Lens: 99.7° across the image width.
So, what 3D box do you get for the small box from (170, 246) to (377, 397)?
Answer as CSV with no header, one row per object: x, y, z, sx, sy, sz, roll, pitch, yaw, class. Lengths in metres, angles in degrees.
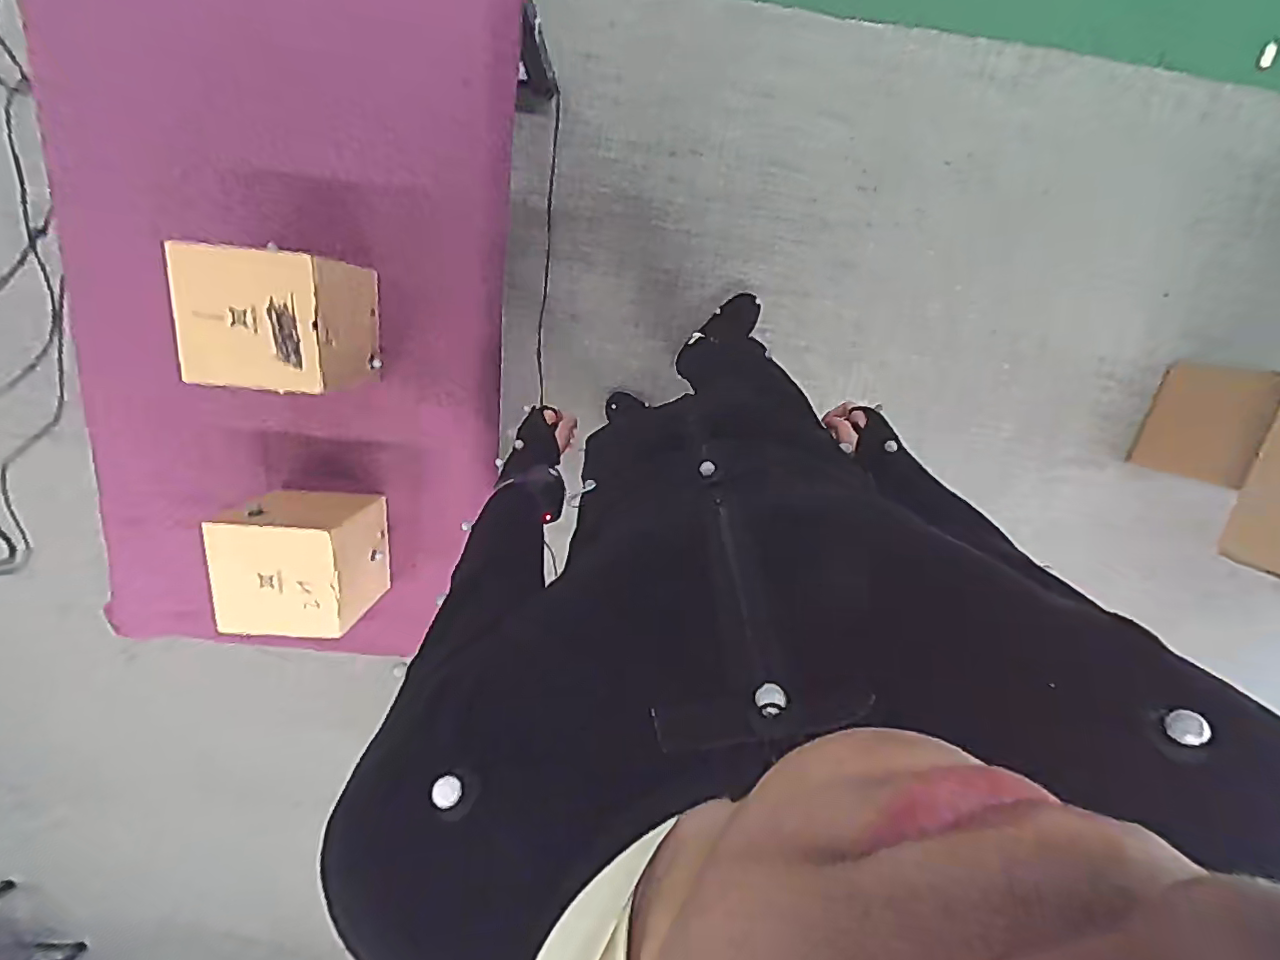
-0.477,-0.212,0.738,0.179,0.176,0.168,5,104,-1,small box

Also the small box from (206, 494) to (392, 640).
-0.504,0.123,0.824,0.179,0.176,0.168,3,105,-2,small box
